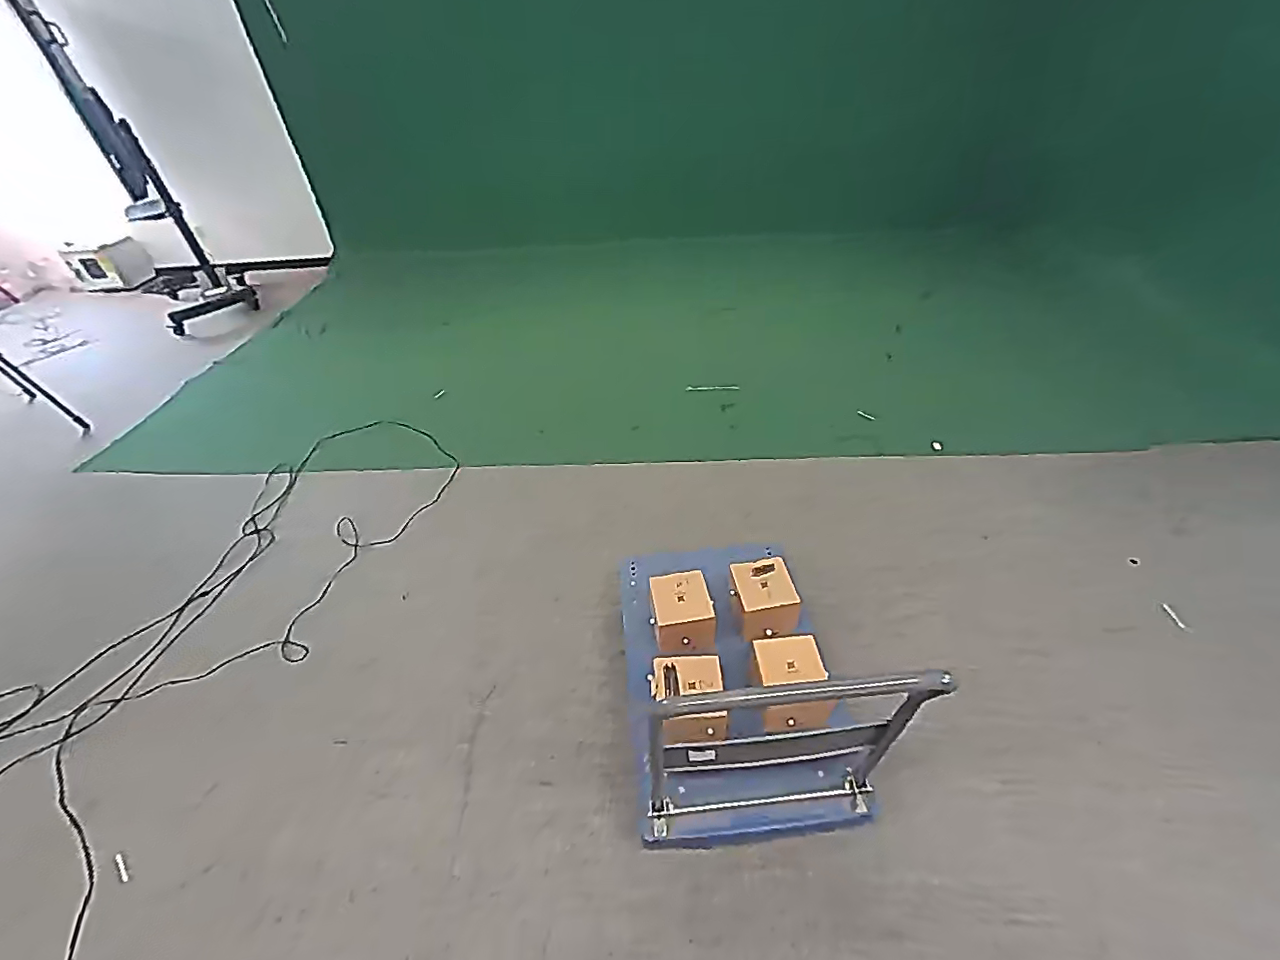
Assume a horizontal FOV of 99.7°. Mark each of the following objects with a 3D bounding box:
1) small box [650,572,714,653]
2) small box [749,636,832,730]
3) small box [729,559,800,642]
[{"bbox_3d":[0.127,0.410,1.649,0.168,0.176,0.179,-8,41,-5],"label":"small box"},{"bbox_3d":[0.399,0.549,1.465,0.168,0.176,0.179,-5,42,-1],"label":"small box"},{"bbox_3d":[0.375,0.372,1.668,0.168,0.176,0.179,-9,42,-3],"label":"small box"}]
